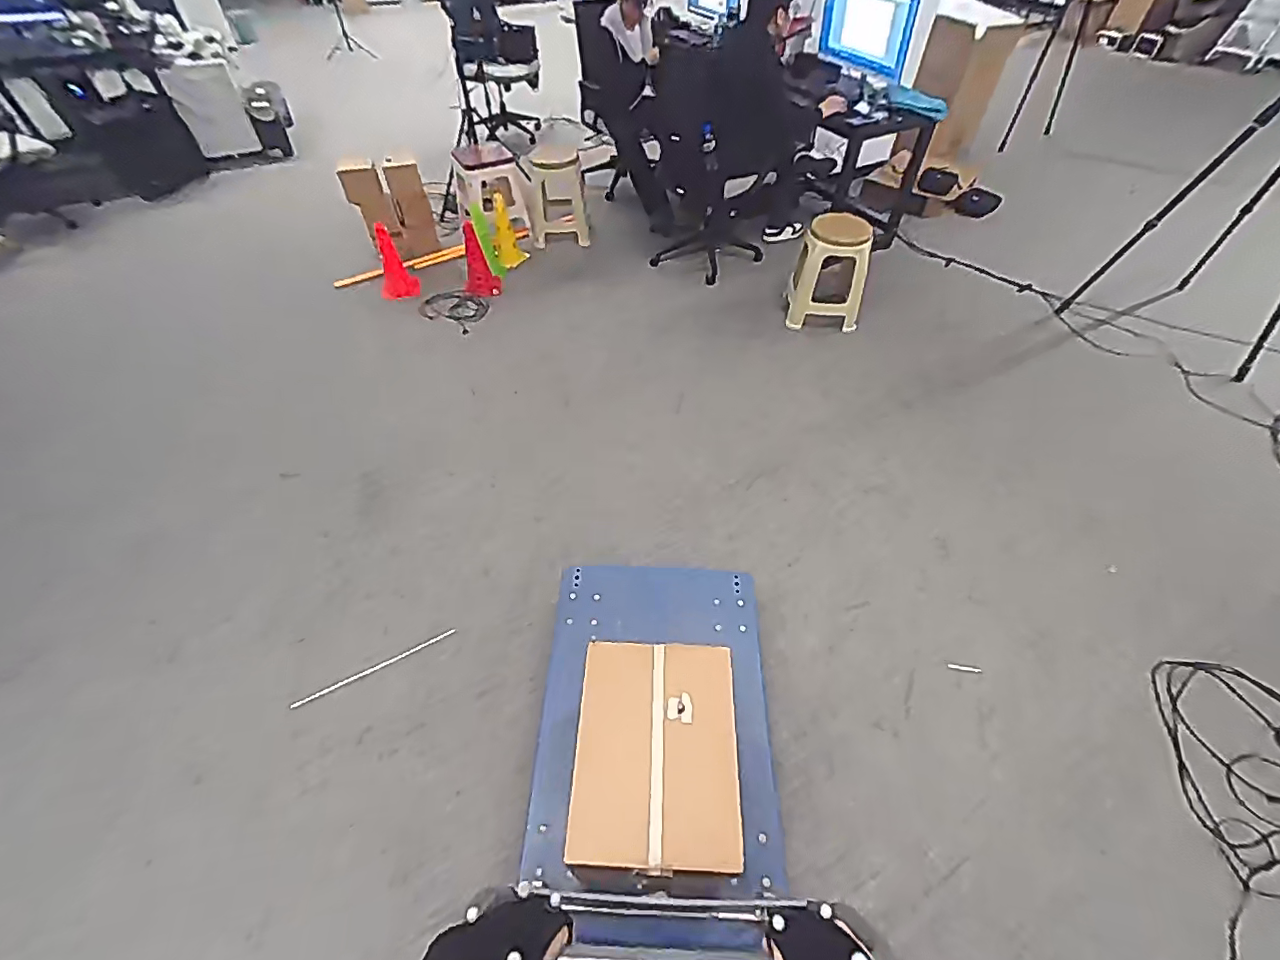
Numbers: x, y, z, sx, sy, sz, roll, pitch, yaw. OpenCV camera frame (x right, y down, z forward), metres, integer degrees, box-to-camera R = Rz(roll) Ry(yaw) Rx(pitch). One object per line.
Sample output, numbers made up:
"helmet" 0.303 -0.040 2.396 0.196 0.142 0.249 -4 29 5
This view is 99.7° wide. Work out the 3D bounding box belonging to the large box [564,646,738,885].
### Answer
"large box" 0.026 0.622 1.182 0.320 0.320 0.408 3 49 1
